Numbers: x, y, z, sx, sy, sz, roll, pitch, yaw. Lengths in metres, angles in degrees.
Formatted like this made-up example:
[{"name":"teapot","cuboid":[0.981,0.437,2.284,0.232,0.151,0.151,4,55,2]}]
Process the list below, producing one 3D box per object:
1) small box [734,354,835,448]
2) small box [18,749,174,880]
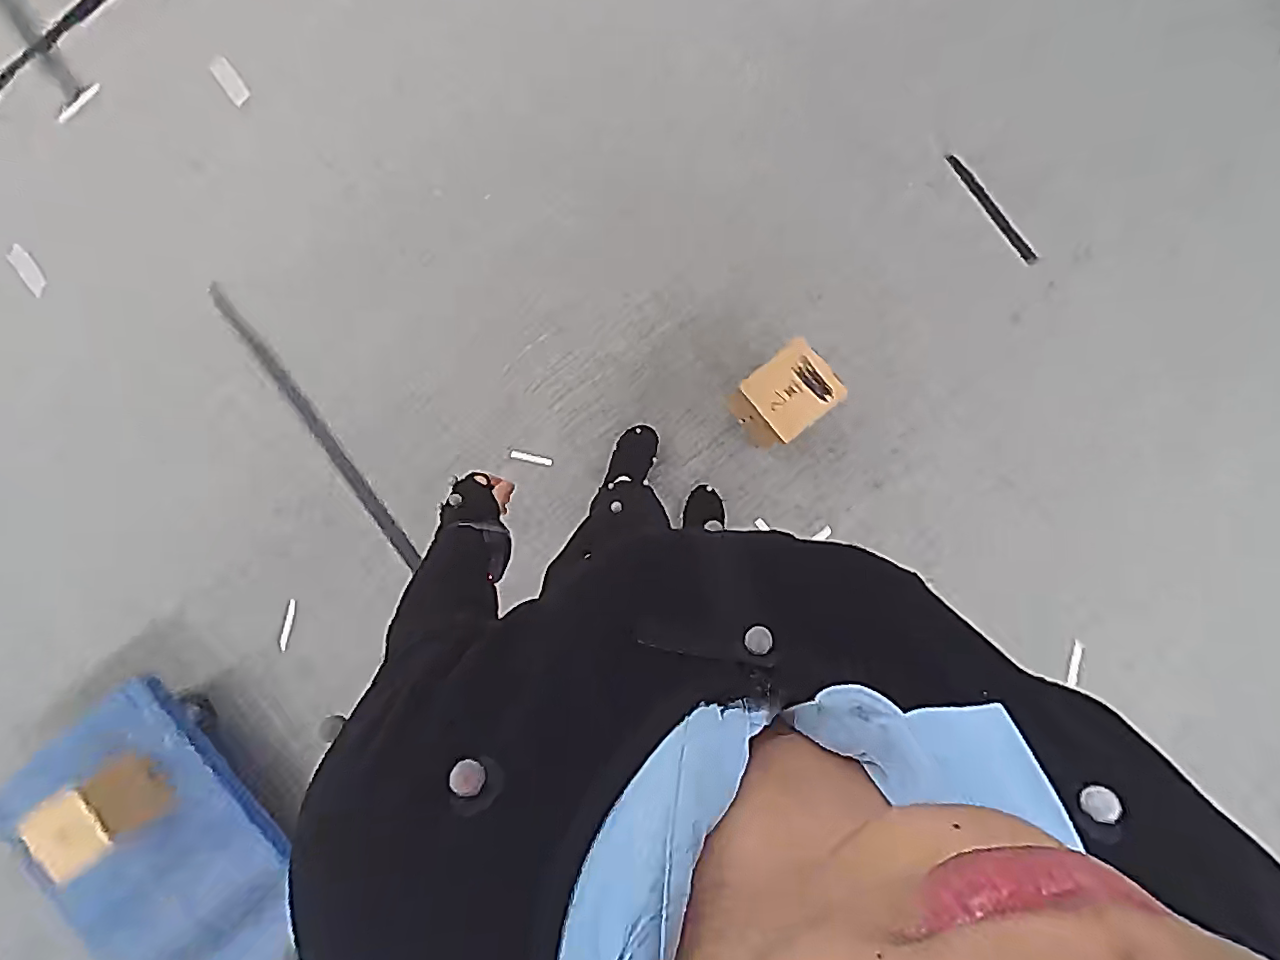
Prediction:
[{"name":"small box","cuboid":[0.362,-0.197,1.396,0.179,0.176,0.168,-38,90,4]},{"name":"small box","cuboid":[-1.303,0.800,1.309,0.179,0.176,0.168,-34,91,3]}]
